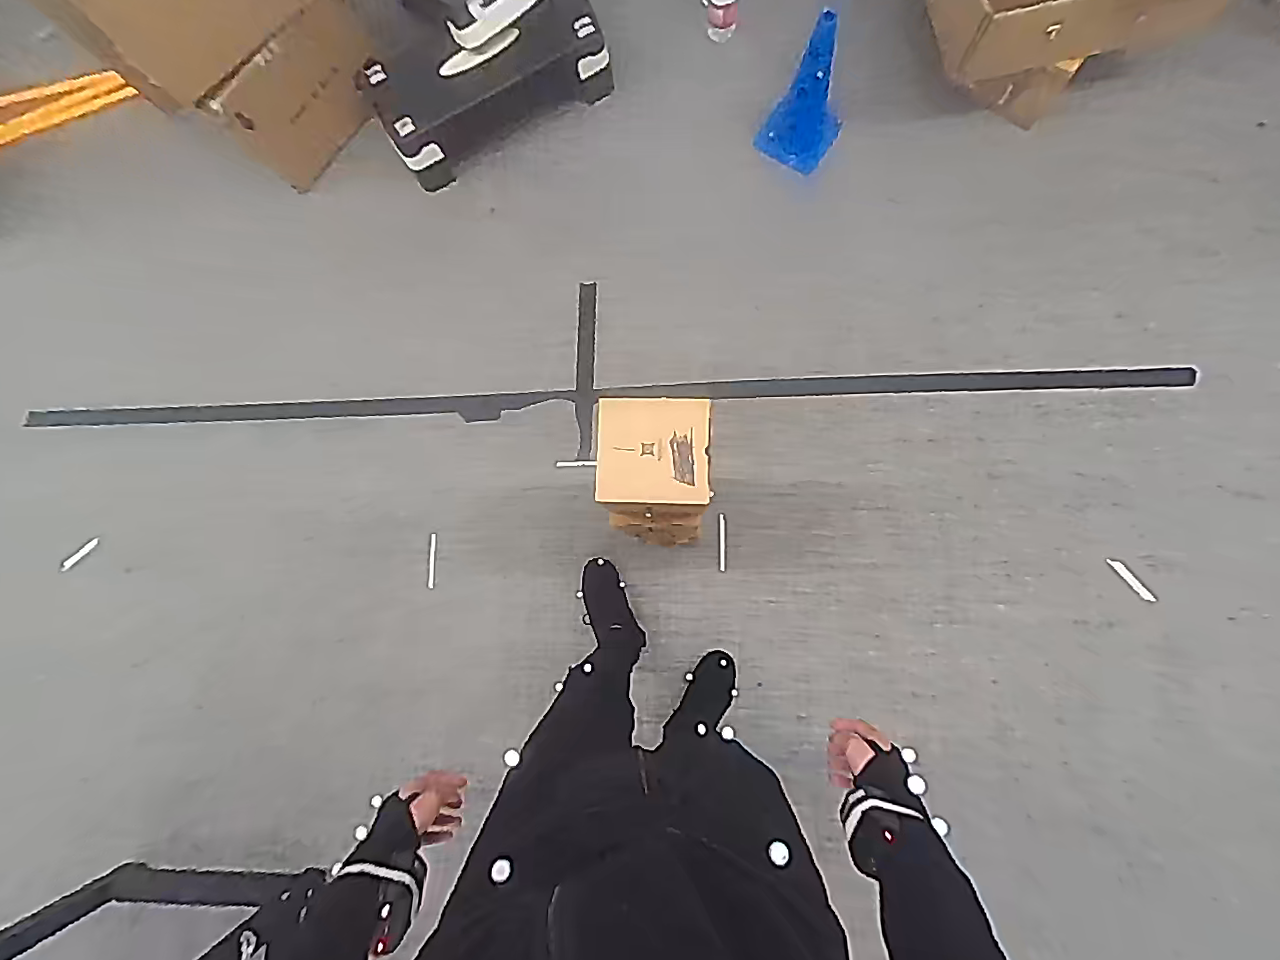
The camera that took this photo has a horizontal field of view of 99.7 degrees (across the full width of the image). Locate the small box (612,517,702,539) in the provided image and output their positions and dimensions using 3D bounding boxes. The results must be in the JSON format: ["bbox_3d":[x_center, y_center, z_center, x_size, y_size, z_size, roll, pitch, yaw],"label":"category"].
[{"bbox_3d":[0.037,0.023,1.065,0.168,0.176,0.179,0,82,4],"label":"small box"}]

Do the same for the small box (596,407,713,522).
[{"bbox_3d":[0.029,-0.020,0.905,0.179,0.176,0.168,1,81,6],"label":"small box"}]

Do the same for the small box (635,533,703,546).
[{"bbox_3d":[0.071,0.077,1.386,0.168,0.176,0.179,-4,82,5],"label":"small box"}]
